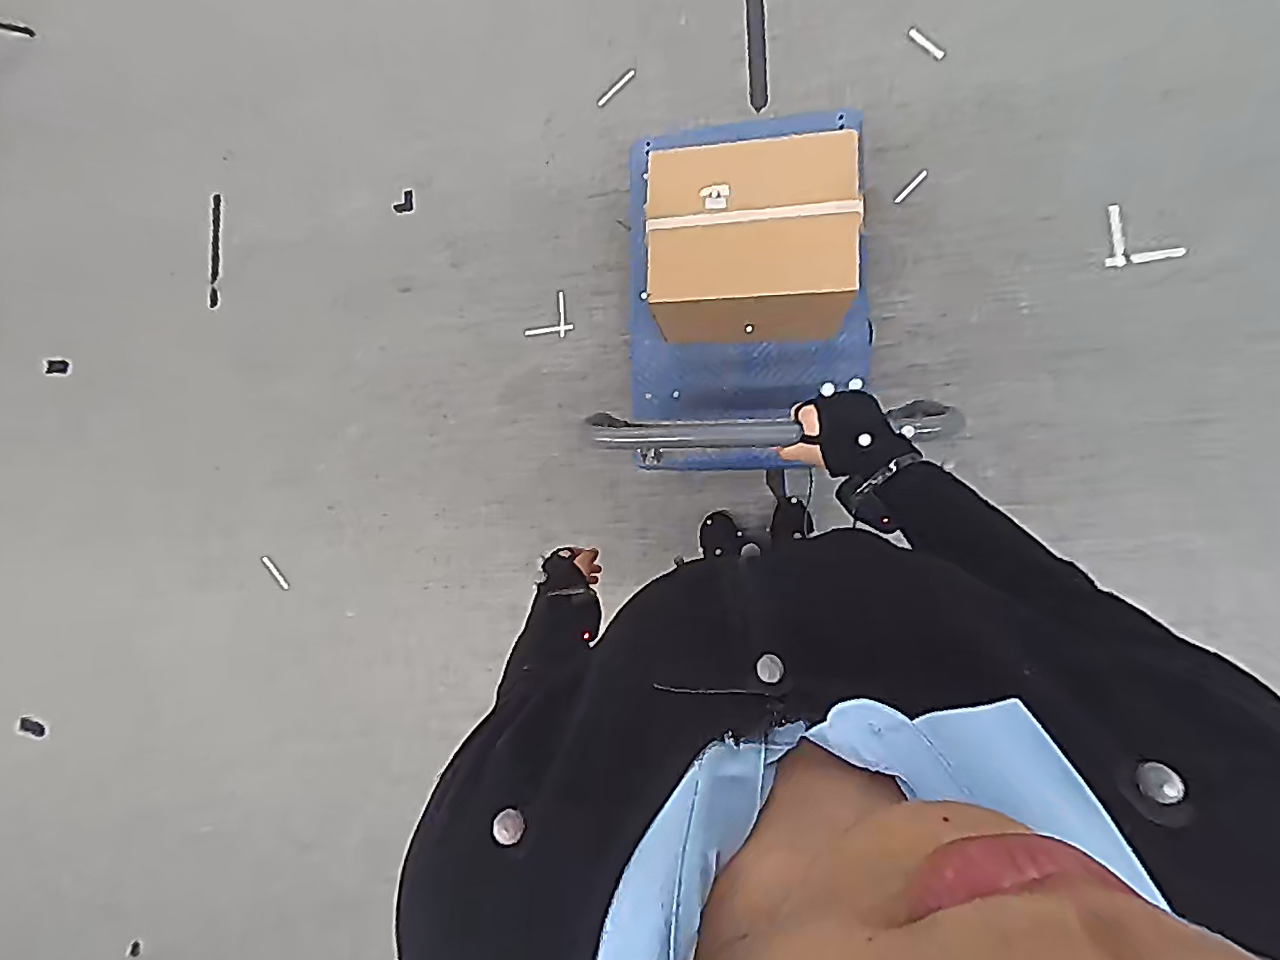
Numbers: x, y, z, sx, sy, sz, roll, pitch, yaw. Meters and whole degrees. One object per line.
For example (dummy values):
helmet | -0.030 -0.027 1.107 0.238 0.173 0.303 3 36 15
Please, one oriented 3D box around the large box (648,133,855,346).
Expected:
large box | 0.245 -0.504 1.216 0.408 0.320 0.320 -1 86 12
